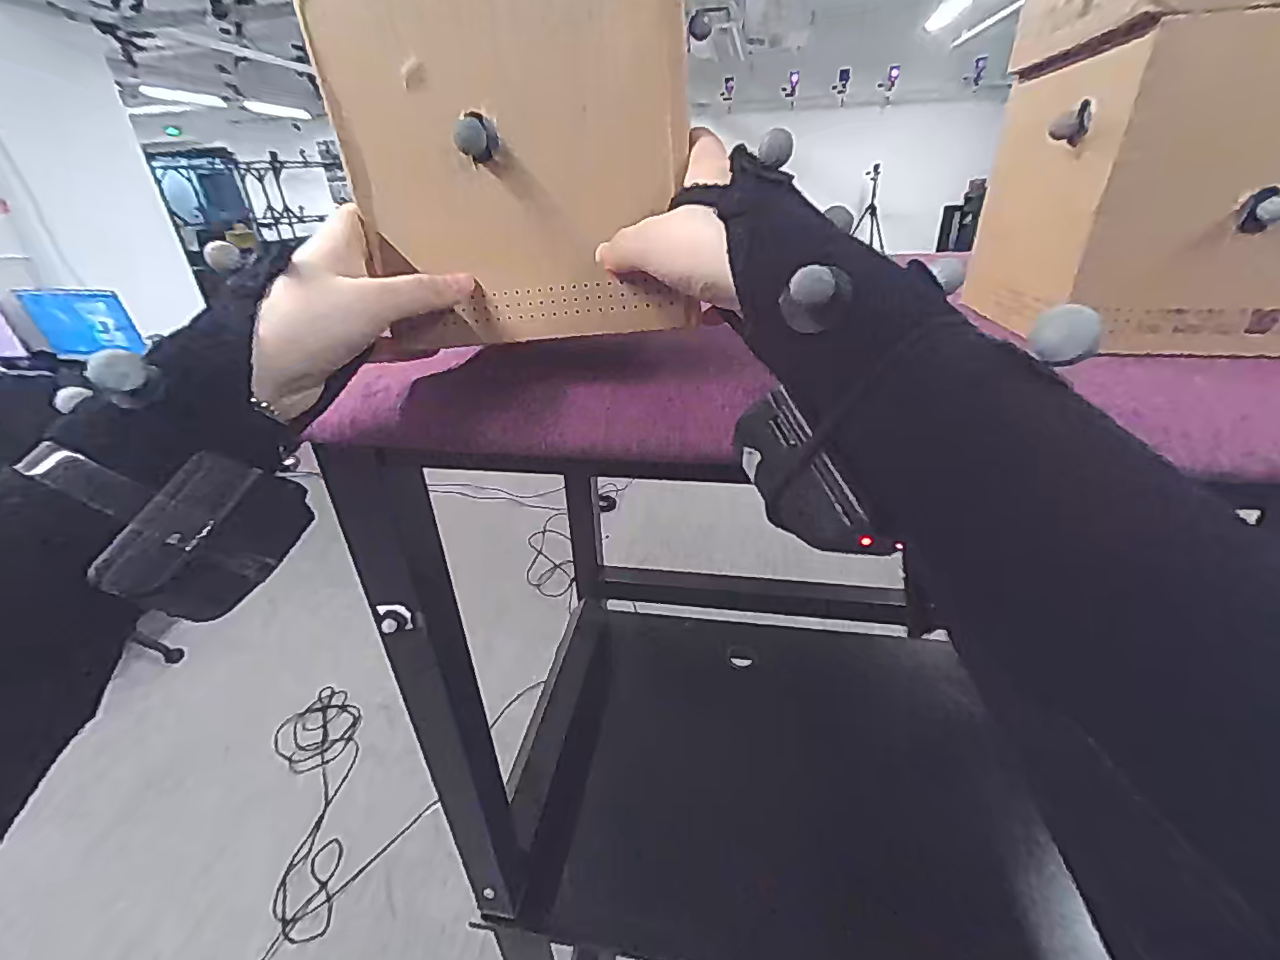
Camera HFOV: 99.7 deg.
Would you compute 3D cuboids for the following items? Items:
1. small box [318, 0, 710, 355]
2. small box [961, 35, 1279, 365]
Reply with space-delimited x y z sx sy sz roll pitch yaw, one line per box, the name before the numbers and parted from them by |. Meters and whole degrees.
small box | -0.049 -0.181 0.341 0.179 0.176 0.168 -3 26 7
small box | 0.352 -0.182 0.370 0.168 0.176 0.179 4 28 9
